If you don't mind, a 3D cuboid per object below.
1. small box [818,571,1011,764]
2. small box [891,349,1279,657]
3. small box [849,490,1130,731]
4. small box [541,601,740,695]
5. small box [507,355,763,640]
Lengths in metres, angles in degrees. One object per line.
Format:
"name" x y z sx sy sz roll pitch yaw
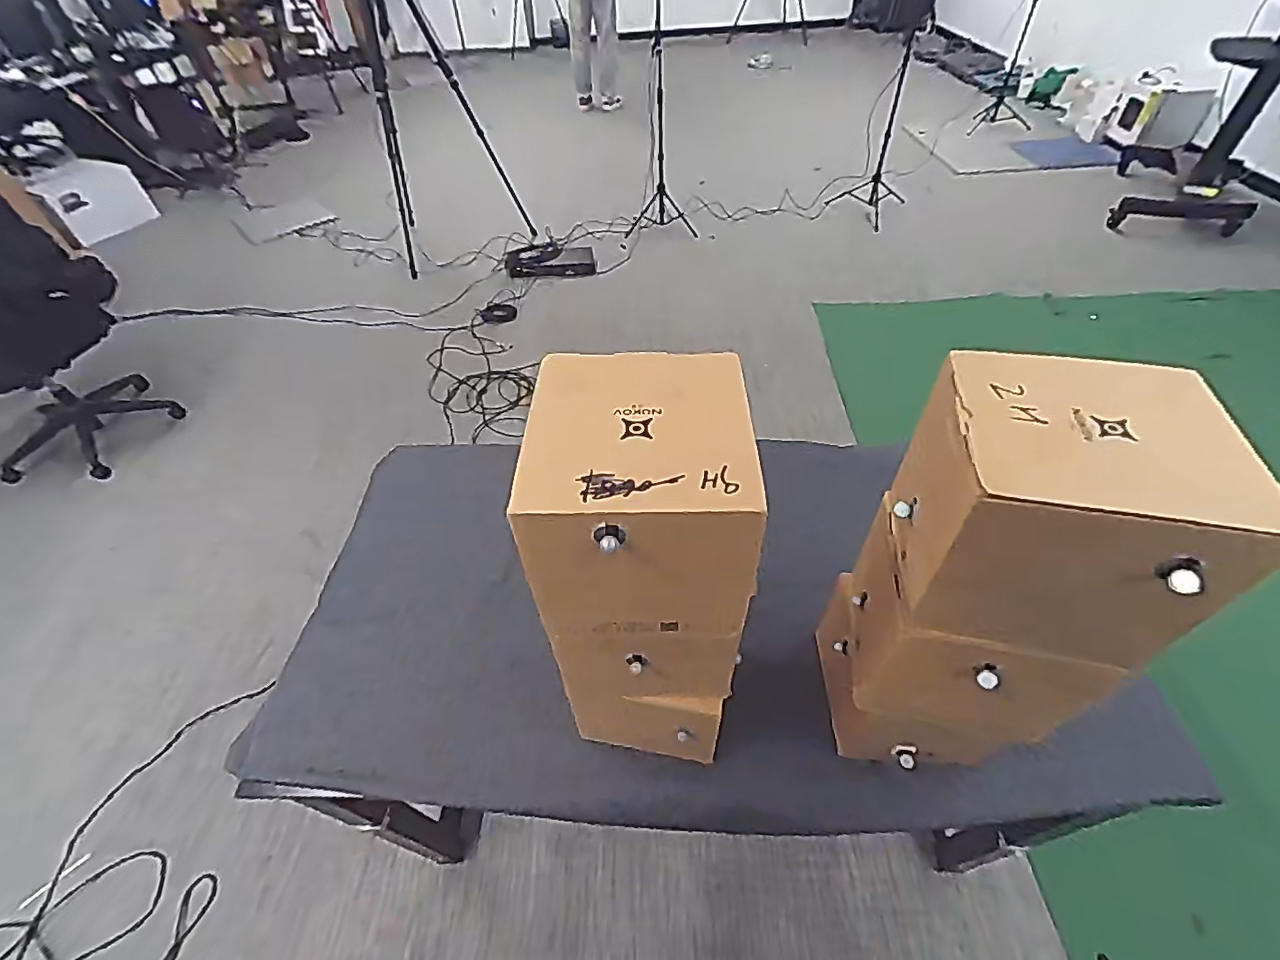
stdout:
"small box" 0.332 0.233 0.677 0.168 0.176 0.179 -1 47 4
"small box" 0.317 0.020 0.429 0.179 0.176 0.168 8 48 13
"small box" 0.323 0.134 0.548 0.179 0.176 0.168 7 48 12
"small box" 0.006 0.118 0.580 0.179 0.176 0.168 0 47 4
"small box" 0.001 0.013 0.454 0.168 0.176 0.179 0 46 3
